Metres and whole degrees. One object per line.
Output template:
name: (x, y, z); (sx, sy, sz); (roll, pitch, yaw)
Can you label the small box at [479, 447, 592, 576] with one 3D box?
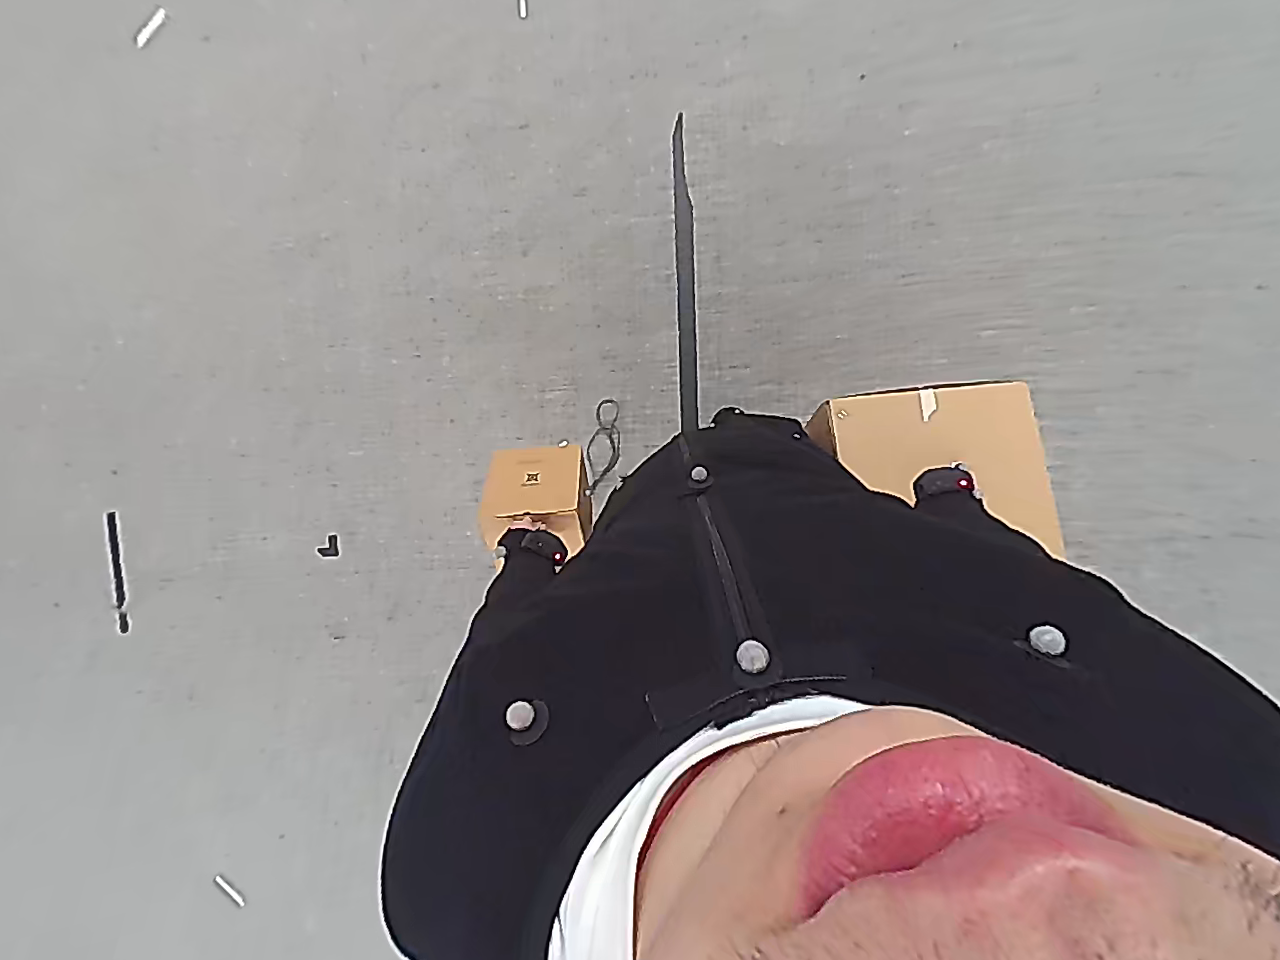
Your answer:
small box: (-0.179, 0.062, 0.991); (0.168, 0.179, 0.176); (-4, 131, 0)
